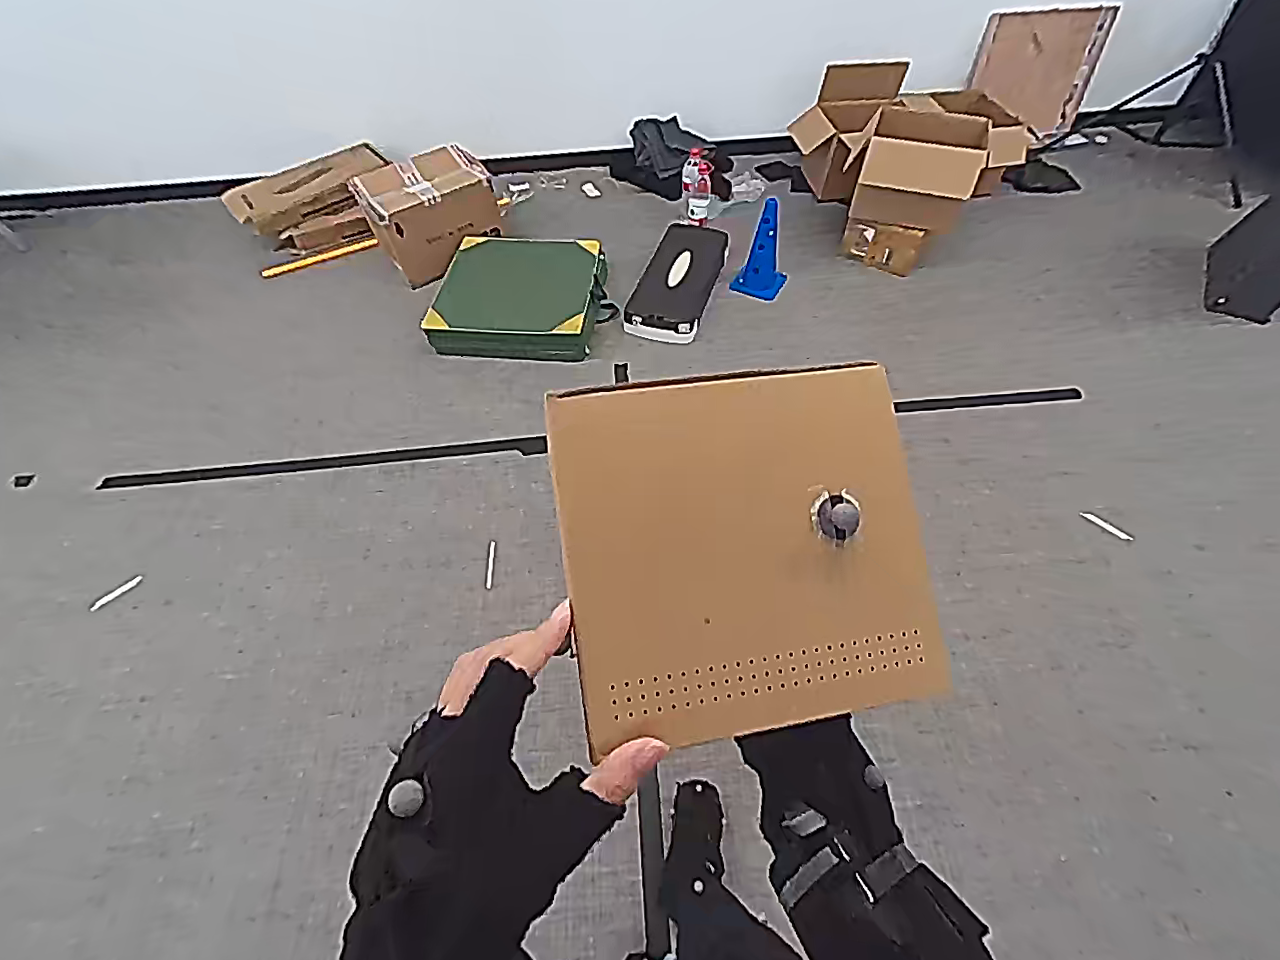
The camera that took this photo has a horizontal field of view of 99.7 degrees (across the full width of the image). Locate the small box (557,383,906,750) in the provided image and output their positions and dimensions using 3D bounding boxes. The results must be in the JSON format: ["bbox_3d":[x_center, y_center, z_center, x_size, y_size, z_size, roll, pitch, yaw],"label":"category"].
[{"bbox_3d":[0.044,0.049,0.349,0.179,0.168,0.176,-7,82,-9],"label":"small box"}]
